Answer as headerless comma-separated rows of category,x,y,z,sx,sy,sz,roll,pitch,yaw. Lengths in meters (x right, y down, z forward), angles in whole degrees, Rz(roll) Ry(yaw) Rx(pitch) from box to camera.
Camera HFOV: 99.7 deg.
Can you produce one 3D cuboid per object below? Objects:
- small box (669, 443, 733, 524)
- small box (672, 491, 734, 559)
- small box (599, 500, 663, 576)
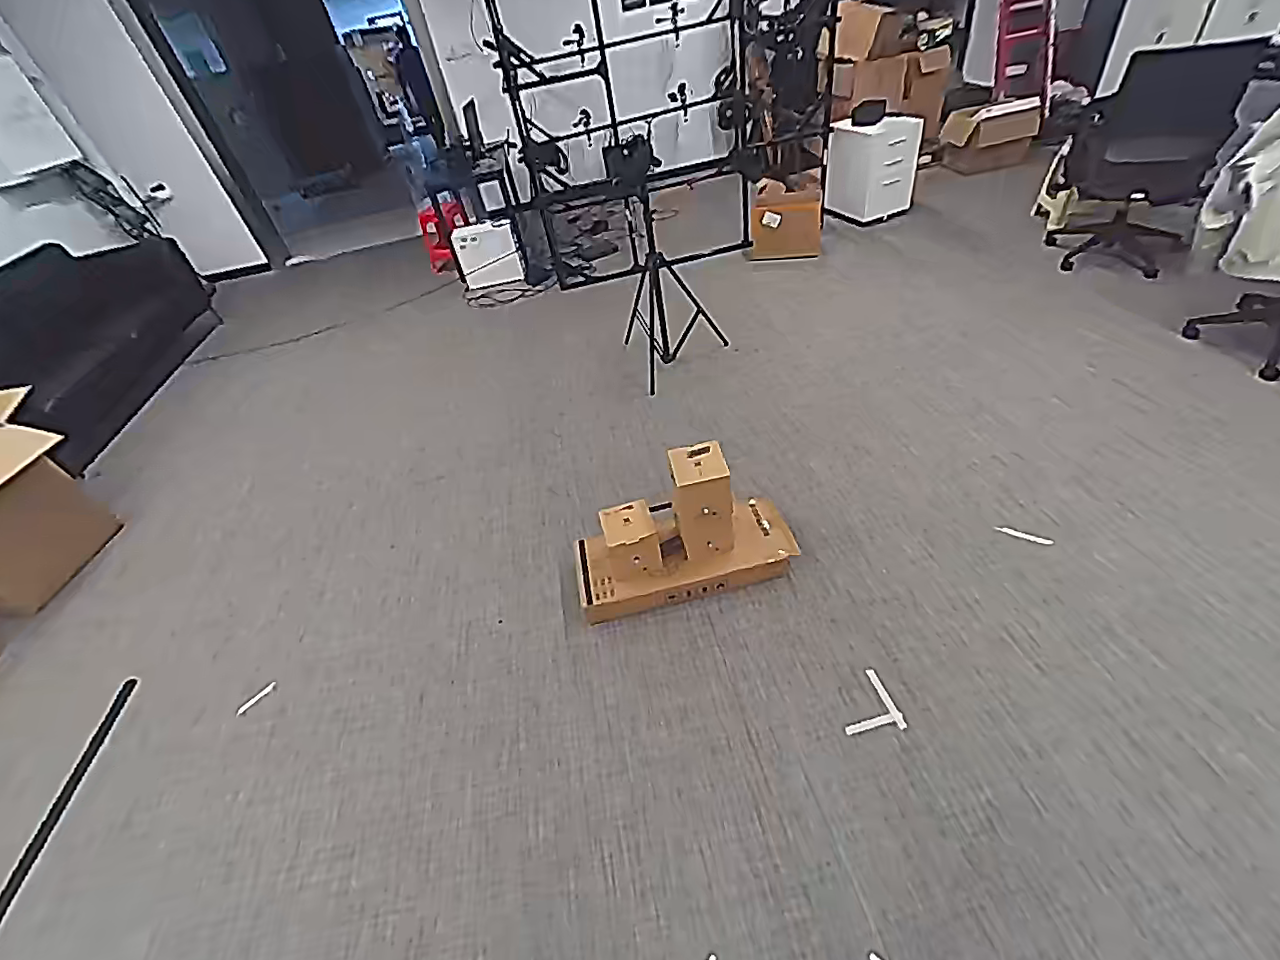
small box,0.194,0.012,1.716,0.168,0.176,0.179,-12,41,0
small box,0.211,0.137,1.822,0.168,0.176,0.179,-15,41,-2
small box,-0.027,0.201,1.806,0.168,0.176,0.179,-16,42,-4
